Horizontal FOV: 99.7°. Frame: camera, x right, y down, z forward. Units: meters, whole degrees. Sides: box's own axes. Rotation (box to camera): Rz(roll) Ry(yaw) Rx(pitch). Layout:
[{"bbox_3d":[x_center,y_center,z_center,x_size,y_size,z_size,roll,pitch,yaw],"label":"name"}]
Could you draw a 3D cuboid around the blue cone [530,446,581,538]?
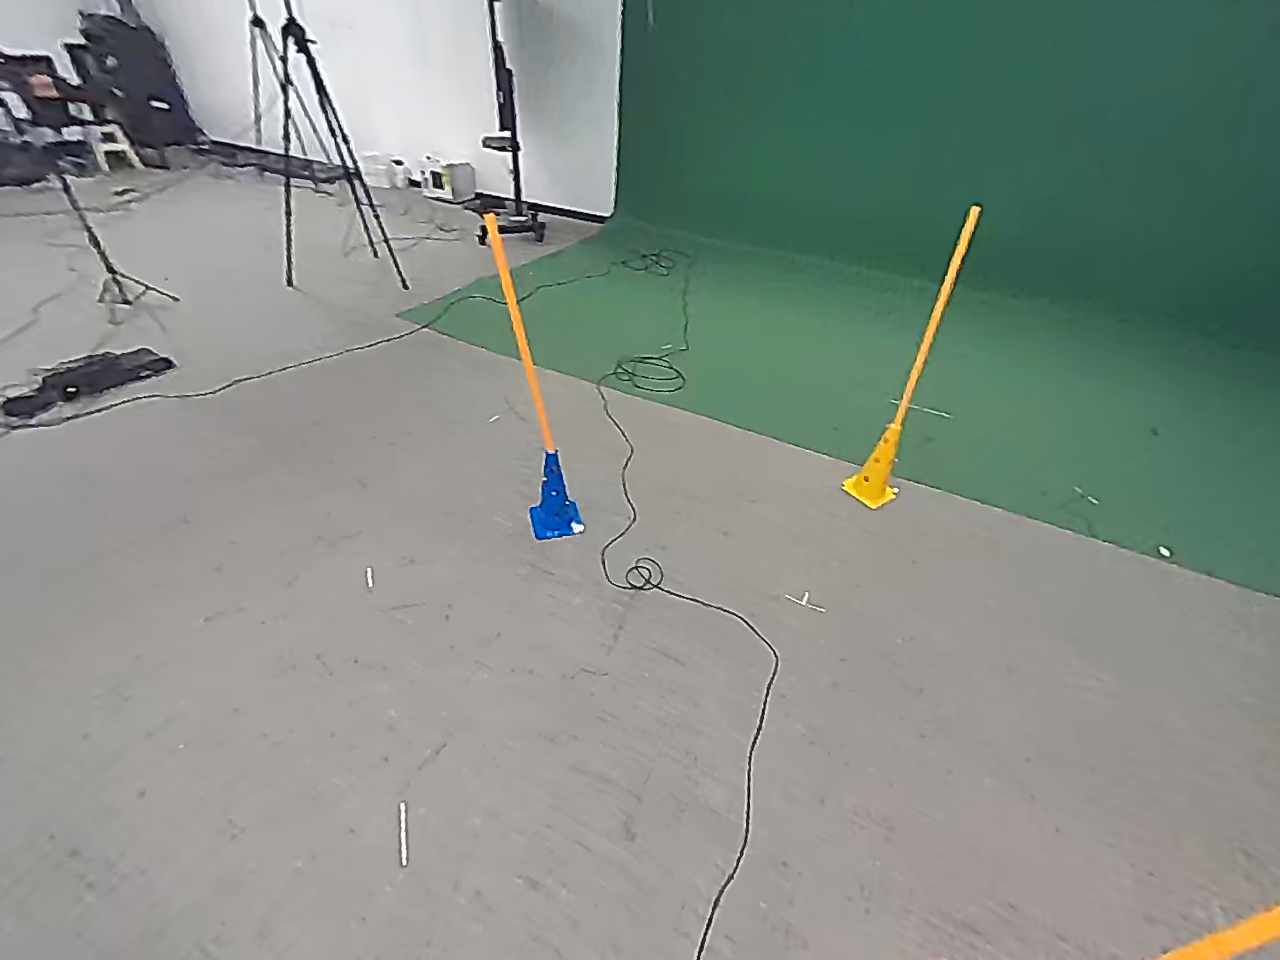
[{"bbox_3d":[-0.337,0.033,2.098,0.193,0.380,0.192,-10,42,-16],"label":"blue cone"}]
